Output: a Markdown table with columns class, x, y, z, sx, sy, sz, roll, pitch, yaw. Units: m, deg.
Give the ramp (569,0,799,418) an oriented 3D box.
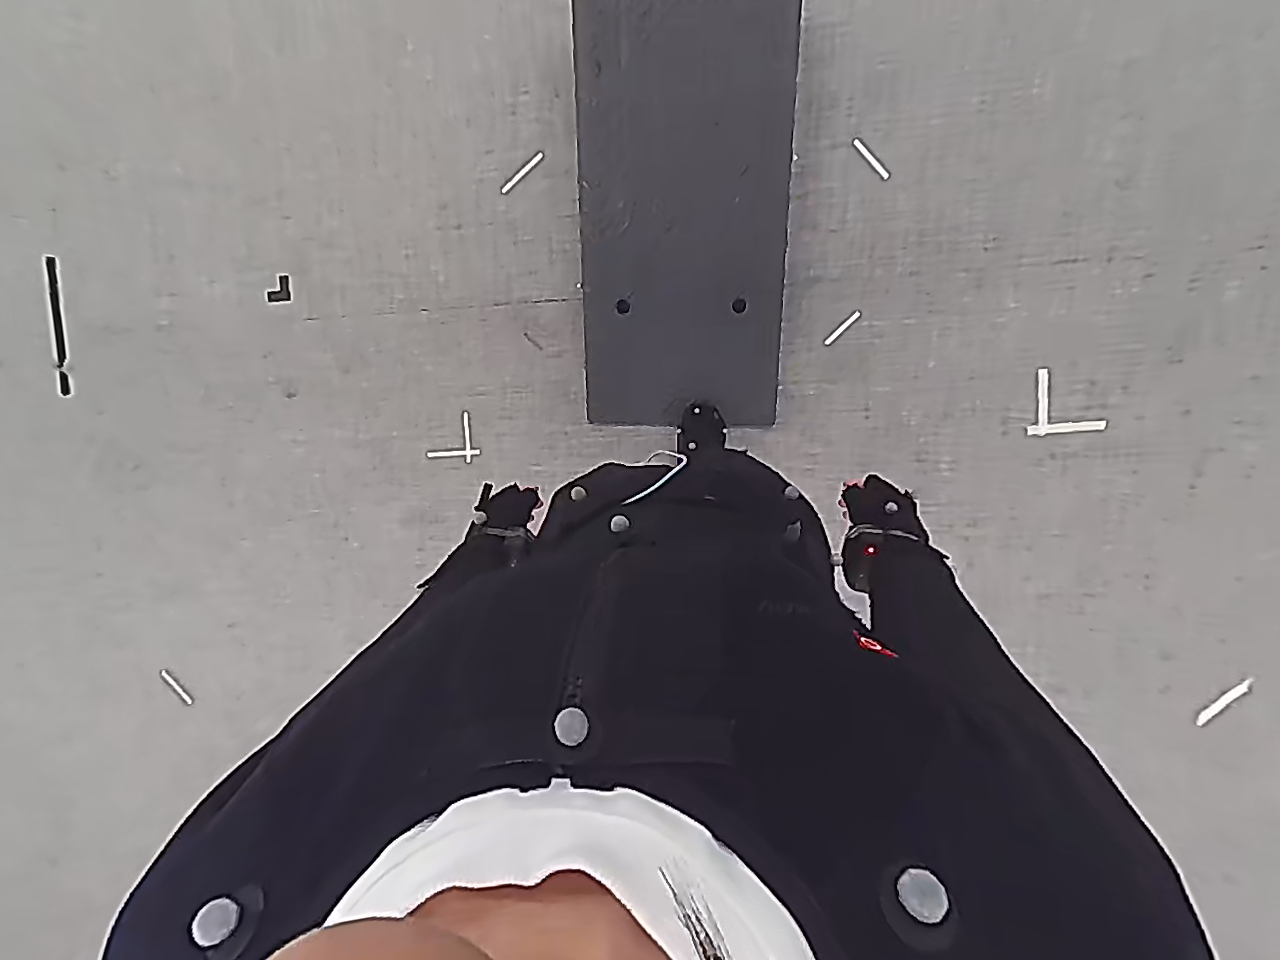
| class | x | y | z | sx | sy | sz | roll | pitch | yaw |
| --- | --- | --- | --- | --- | --- | --- | --- | --- | --- |
| ramp | 0.097 | -0.637 | 1.264 | 0.509 | 0.206 | 0.991 | -1 | 97 | 6 |
